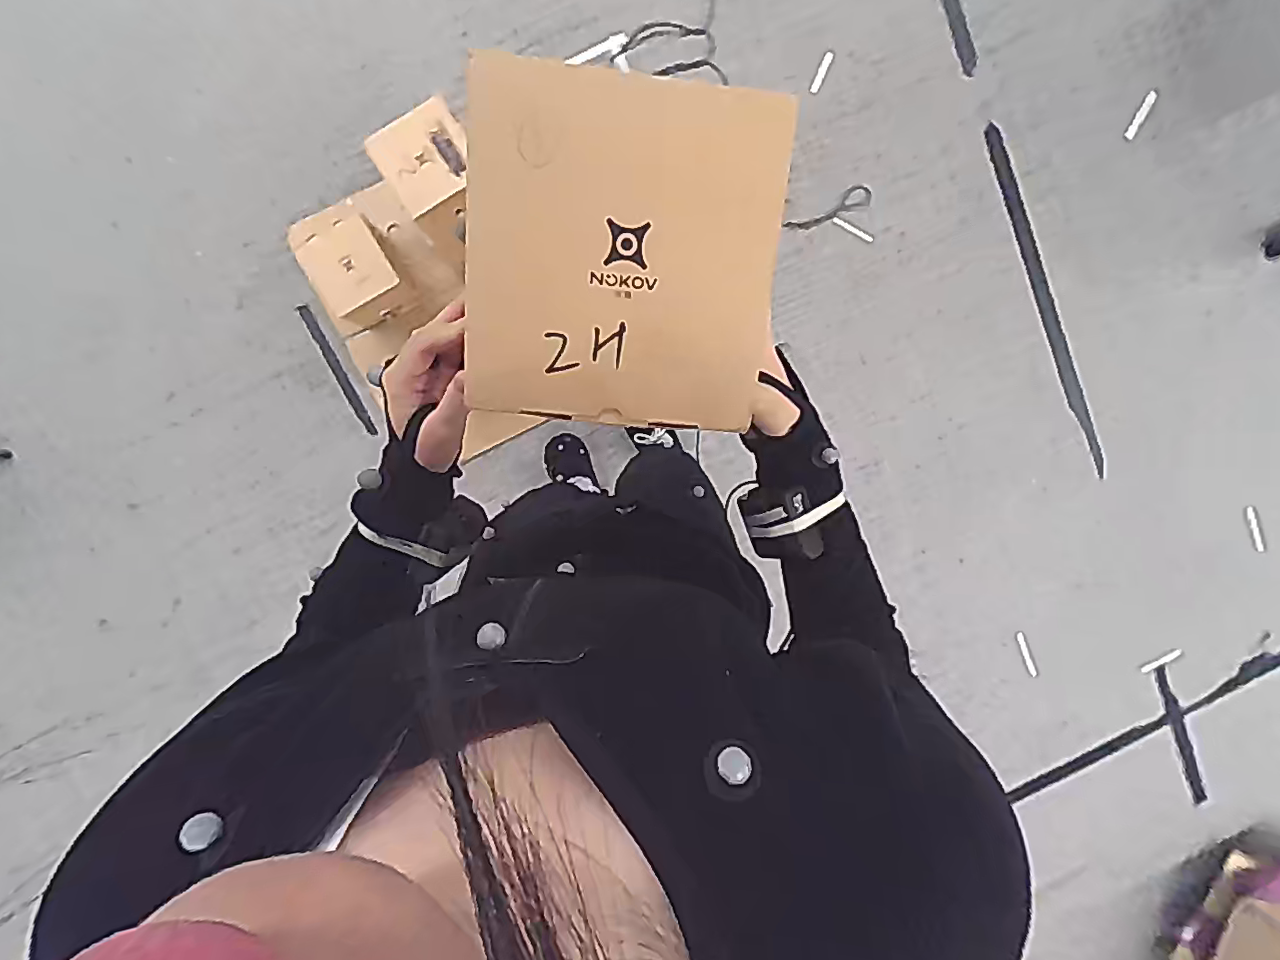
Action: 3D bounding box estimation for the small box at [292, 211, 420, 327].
[{"bbox_3d":[-0.654,-0.483,1.265,0.168,0.176,0.179,-32,98,1],"label":"small box"}]

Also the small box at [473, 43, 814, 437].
[{"bbox_3d":[-0.007,-0.135,0.359,0.168,0.176,0.179,5,105,-5],"label":"small box"}]

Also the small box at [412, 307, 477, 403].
[{"bbox_3d":[-0.417,-0.293,1.308,0.168,0.176,0.179,-23,99,-3],"label":"small box"}]

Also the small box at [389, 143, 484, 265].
[{"bbox_3d":[-0.443,-0.635,1.267,0.179,0.176,0.168,-31,98,-1],"label":"small box"}]
